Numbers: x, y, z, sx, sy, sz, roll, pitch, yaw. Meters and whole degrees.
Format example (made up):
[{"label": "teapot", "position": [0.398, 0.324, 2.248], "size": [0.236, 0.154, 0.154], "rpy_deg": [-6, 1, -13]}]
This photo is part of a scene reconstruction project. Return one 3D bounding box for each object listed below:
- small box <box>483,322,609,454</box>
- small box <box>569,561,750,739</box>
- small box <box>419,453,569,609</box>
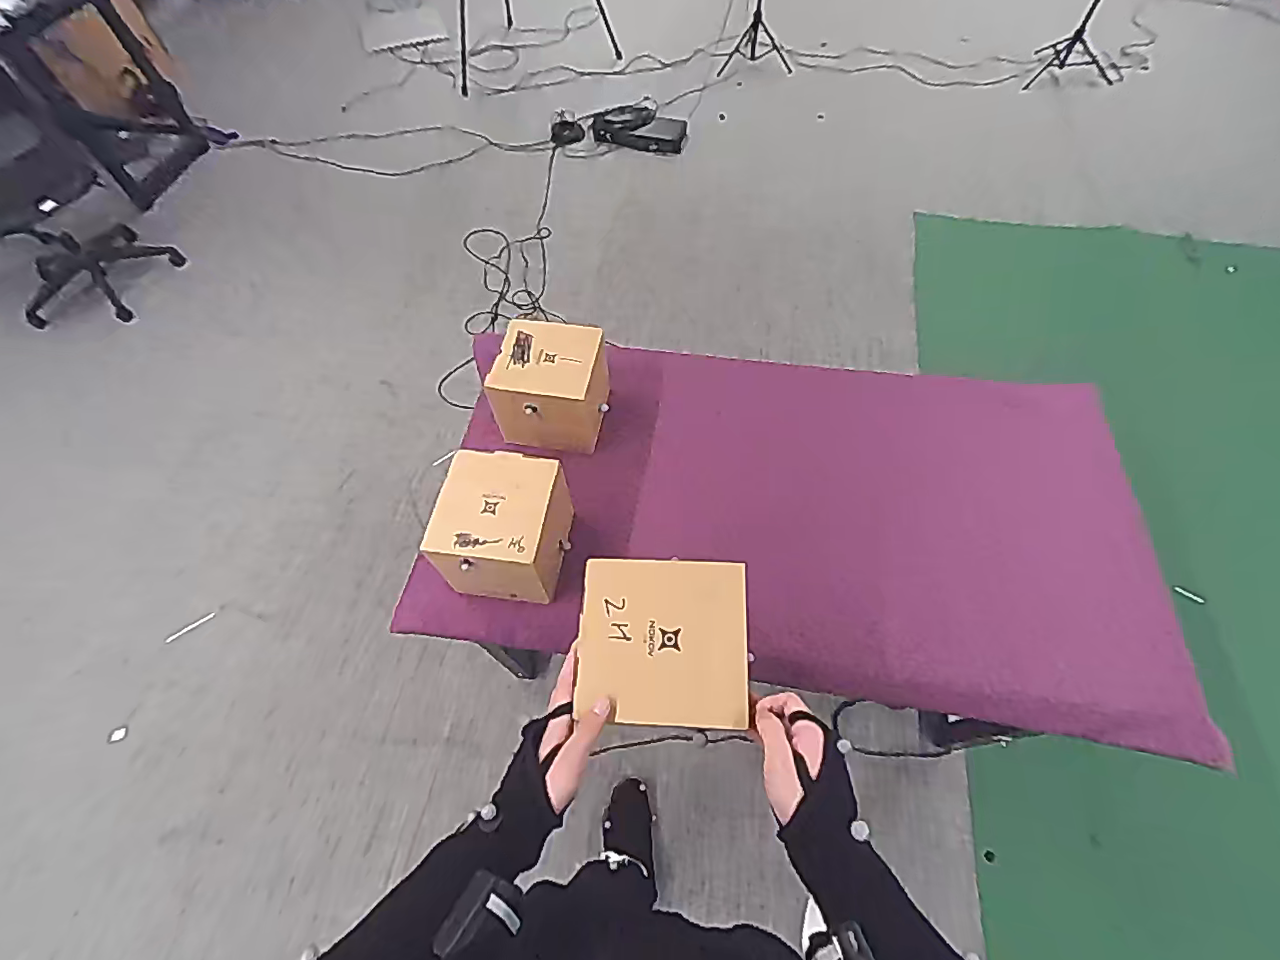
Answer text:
[{"label": "small box", "position": [-0.161, -0.164, 0.994], "size": [0.179, 0.176, 0.168], "rpy_deg": [8, 60, 6]}, {"label": "small box", "position": [0.028, 0.198, 0.622], "size": [0.179, 0.176, 0.168], "rpy_deg": [2, 66, 6]}, {"label": "small box", "position": [-0.212, 0.083, 0.847], "size": [0.168, 0.176, 0.179], "rpy_deg": [6, 58, 6]}]
